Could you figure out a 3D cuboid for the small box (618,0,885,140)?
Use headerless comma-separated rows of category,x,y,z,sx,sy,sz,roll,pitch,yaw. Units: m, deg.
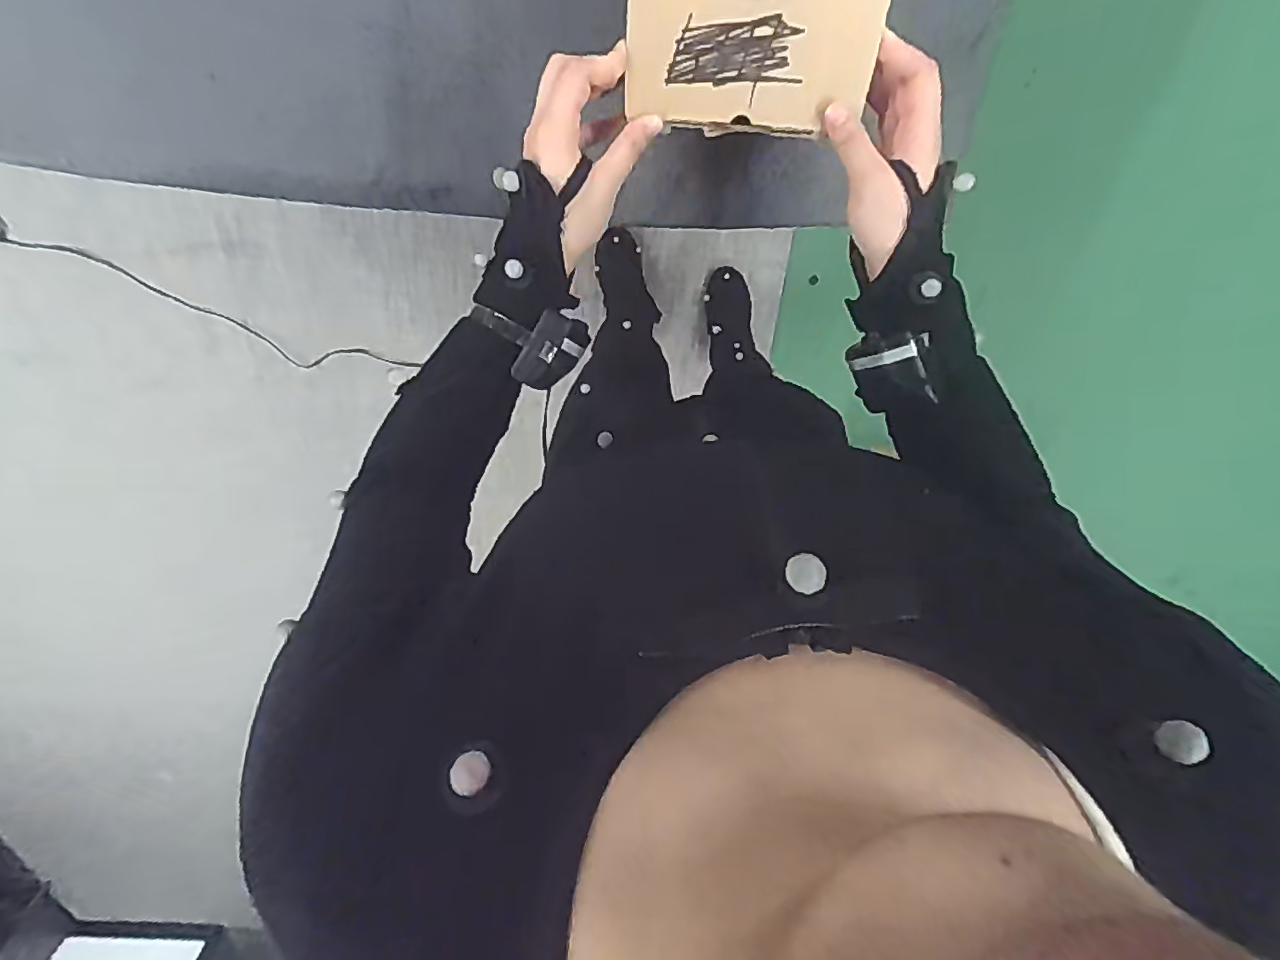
small box,0.075,-0.360,0.390,0.168,0.176,0.179,4,125,-1
